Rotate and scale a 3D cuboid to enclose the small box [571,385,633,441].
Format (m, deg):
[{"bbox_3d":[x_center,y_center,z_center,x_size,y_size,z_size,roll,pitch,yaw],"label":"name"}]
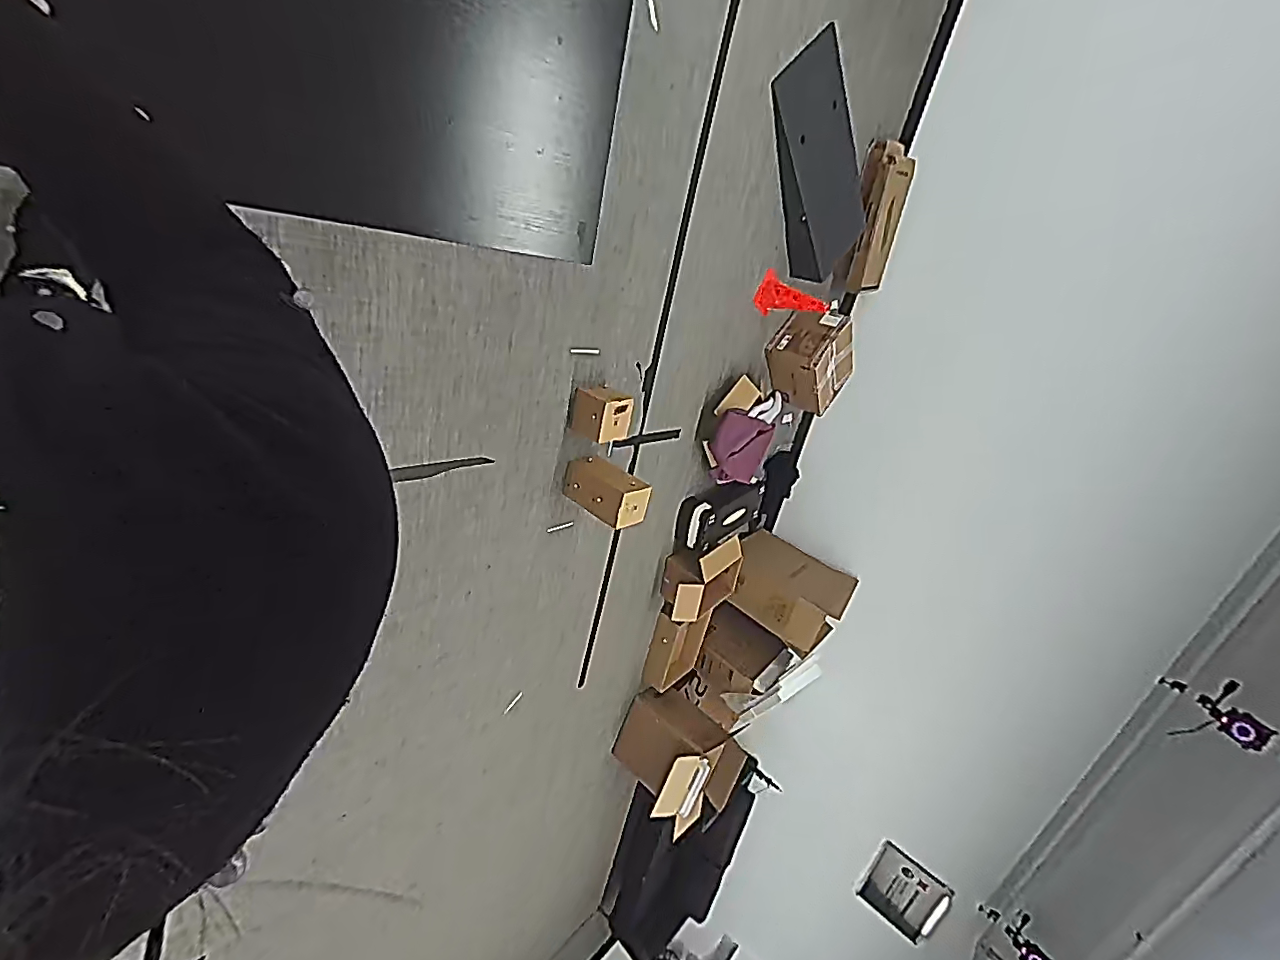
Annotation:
[{"bbox_3d":[-0.156,-0.276,2.169,0.168,0.176,0.179,-17,128,-47],"label":"small box"}]

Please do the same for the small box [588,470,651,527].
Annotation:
[{"bbox_3d":[-0.086,0.069,2.225,0.179,0.176,0.168,-12,124,-48],"label":"small box"}]

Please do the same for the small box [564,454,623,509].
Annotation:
[{"bbox_3d":[-0.204,0.002,2.322,0.179,0.176,0.168,-14,125,-47],"label":"small box"}]
